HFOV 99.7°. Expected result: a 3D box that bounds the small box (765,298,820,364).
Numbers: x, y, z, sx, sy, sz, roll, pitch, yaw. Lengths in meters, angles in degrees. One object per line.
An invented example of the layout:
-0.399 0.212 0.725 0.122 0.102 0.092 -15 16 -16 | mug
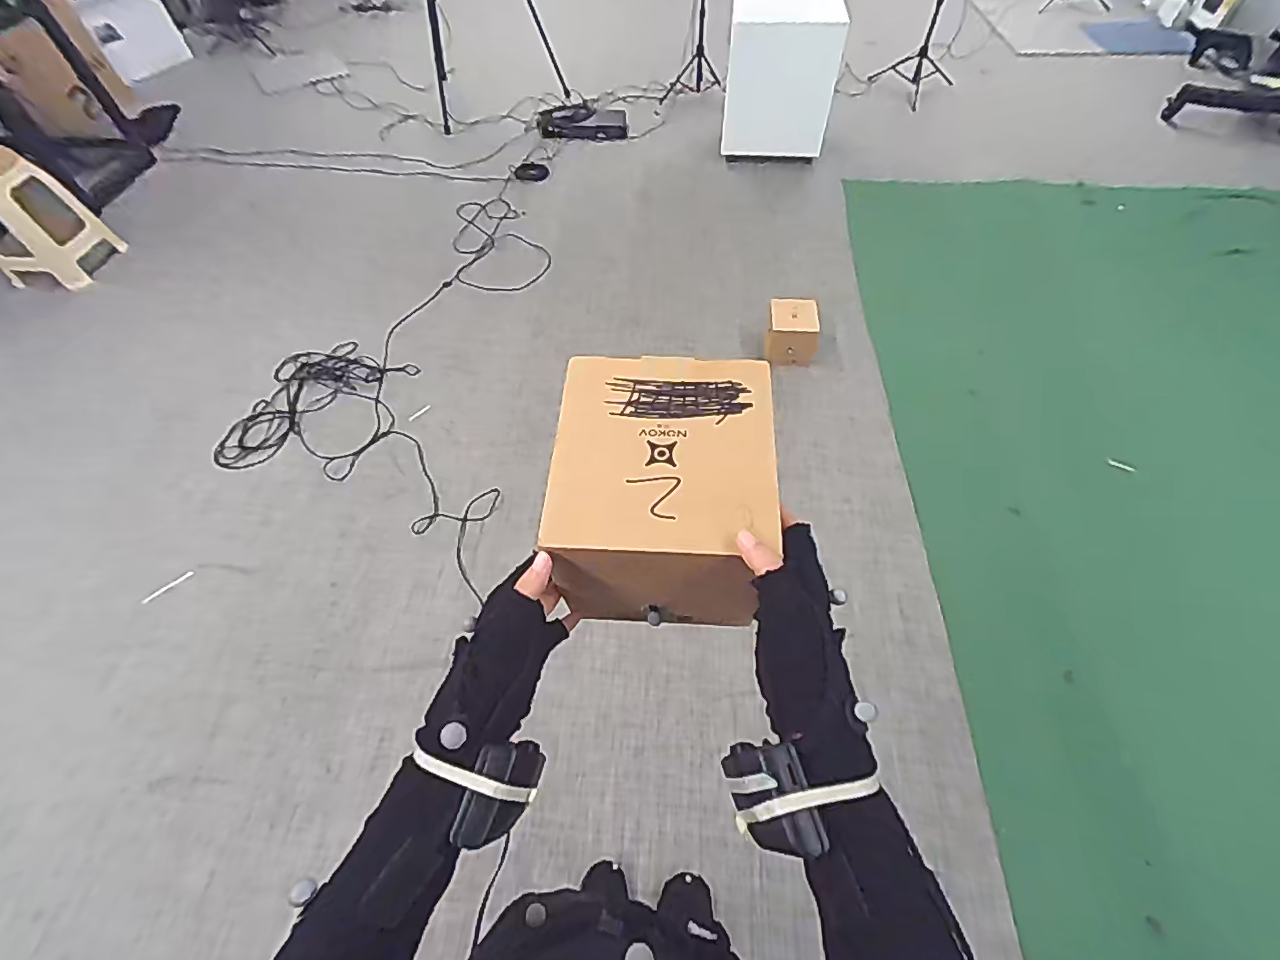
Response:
0.561 -0.551 2.009 0.168 0.176 0.179 4 56 4 | small box
